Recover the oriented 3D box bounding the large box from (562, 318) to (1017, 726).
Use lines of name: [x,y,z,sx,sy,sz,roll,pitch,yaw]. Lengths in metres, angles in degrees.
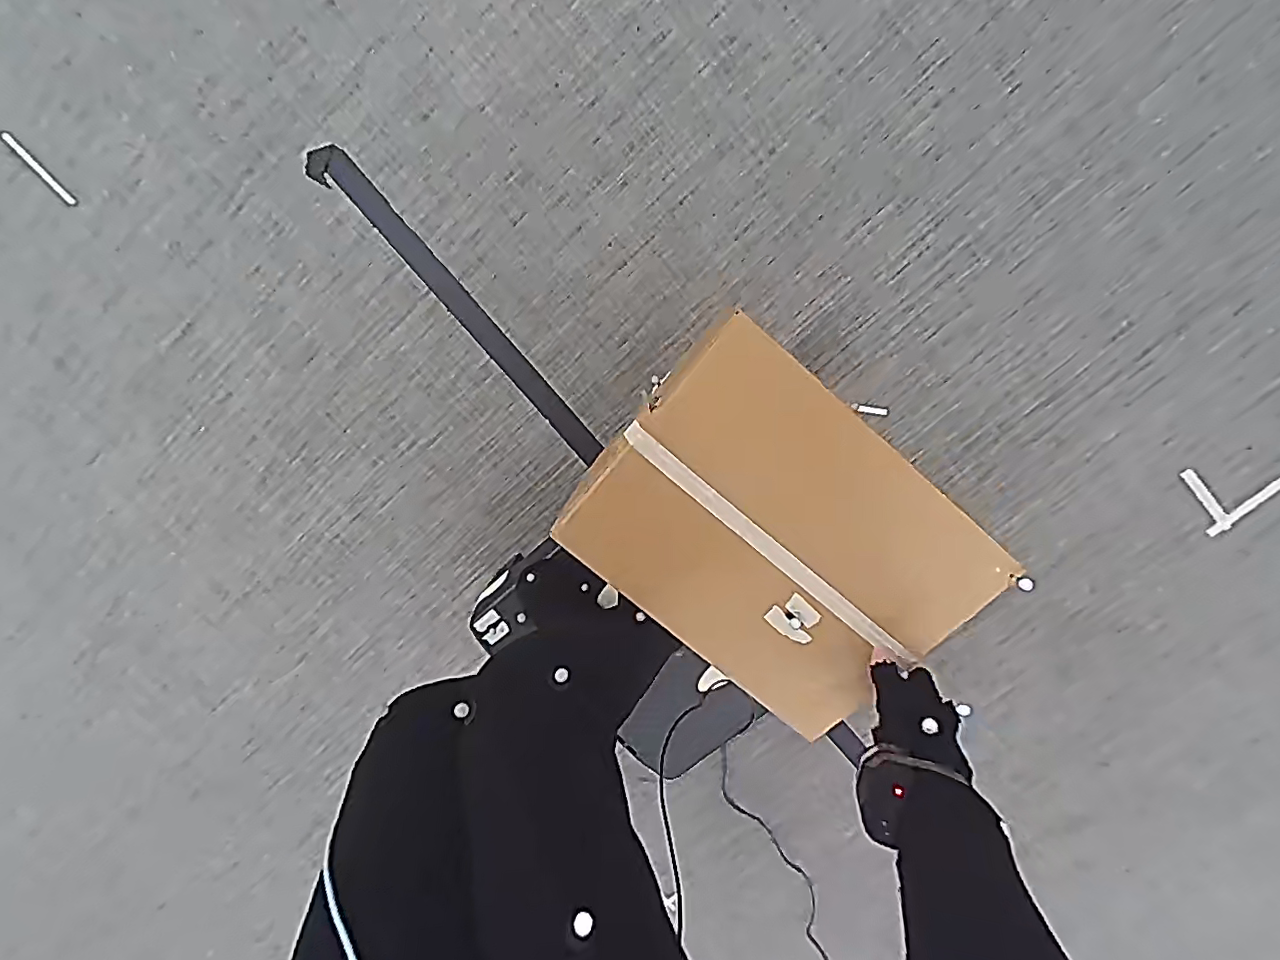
large box: [0.167,0.027,0.734,0.408,0.320,0.320,39,109,-7]
